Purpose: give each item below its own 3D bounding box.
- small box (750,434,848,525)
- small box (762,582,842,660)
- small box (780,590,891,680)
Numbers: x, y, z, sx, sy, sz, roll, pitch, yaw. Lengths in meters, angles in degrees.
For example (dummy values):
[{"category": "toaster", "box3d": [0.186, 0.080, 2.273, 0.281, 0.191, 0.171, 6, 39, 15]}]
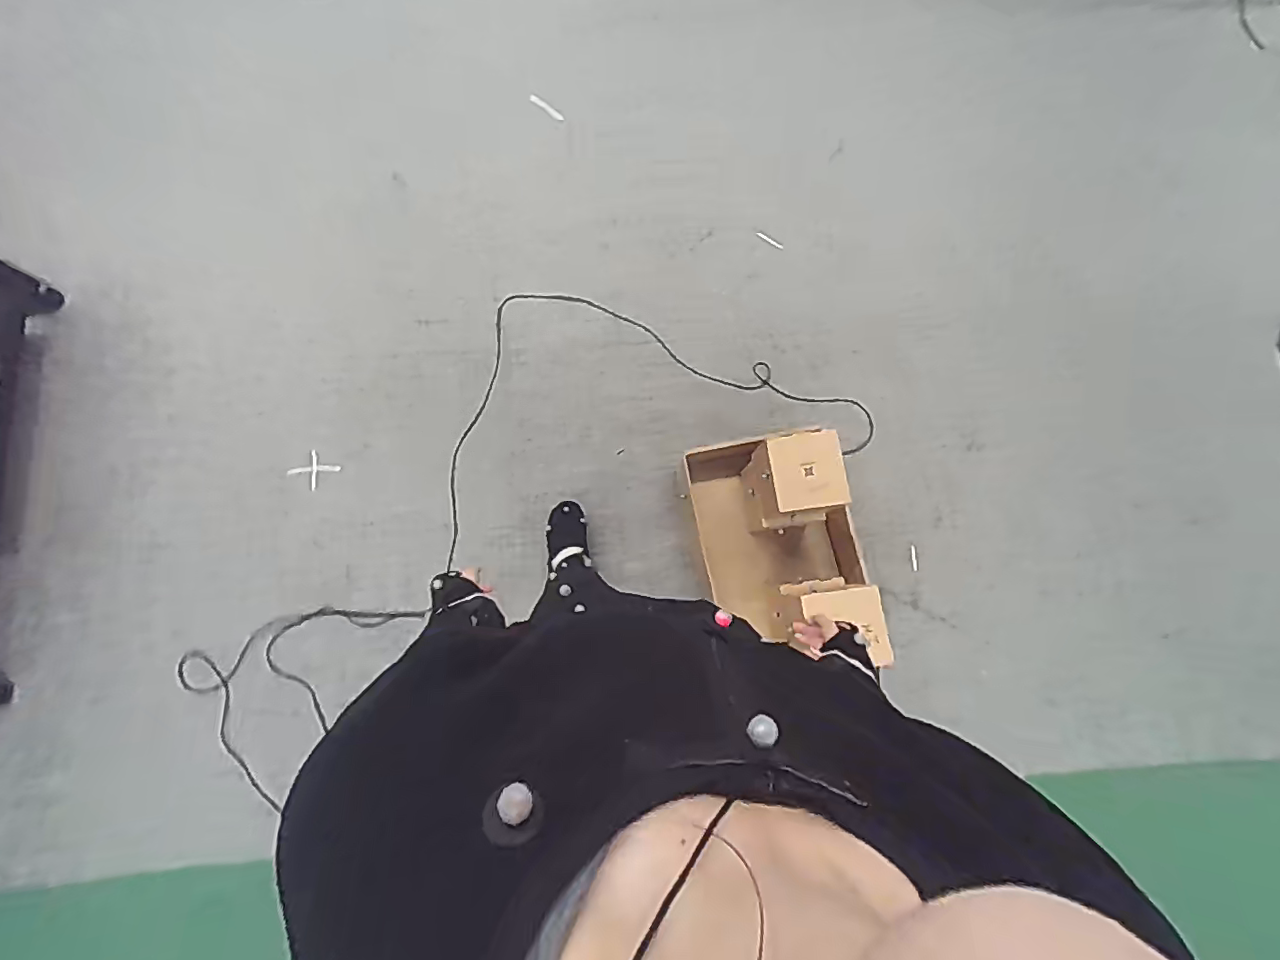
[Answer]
[{"category": "small box", "box3d": [0.366, 0.003, 1.281, 0.168, 0.176, 0.179, -7, 79, -2]}, {"category": "small box", "box3d": [0.418, 0.361, 1.374, 0.168, 0.176, 0.179, -7, 78, -3]}, {"category": "small box", "box3d": [0.424, 0.341, 1.209, 0.179, 0.176, 0.168, -7, 79, -4]}]
